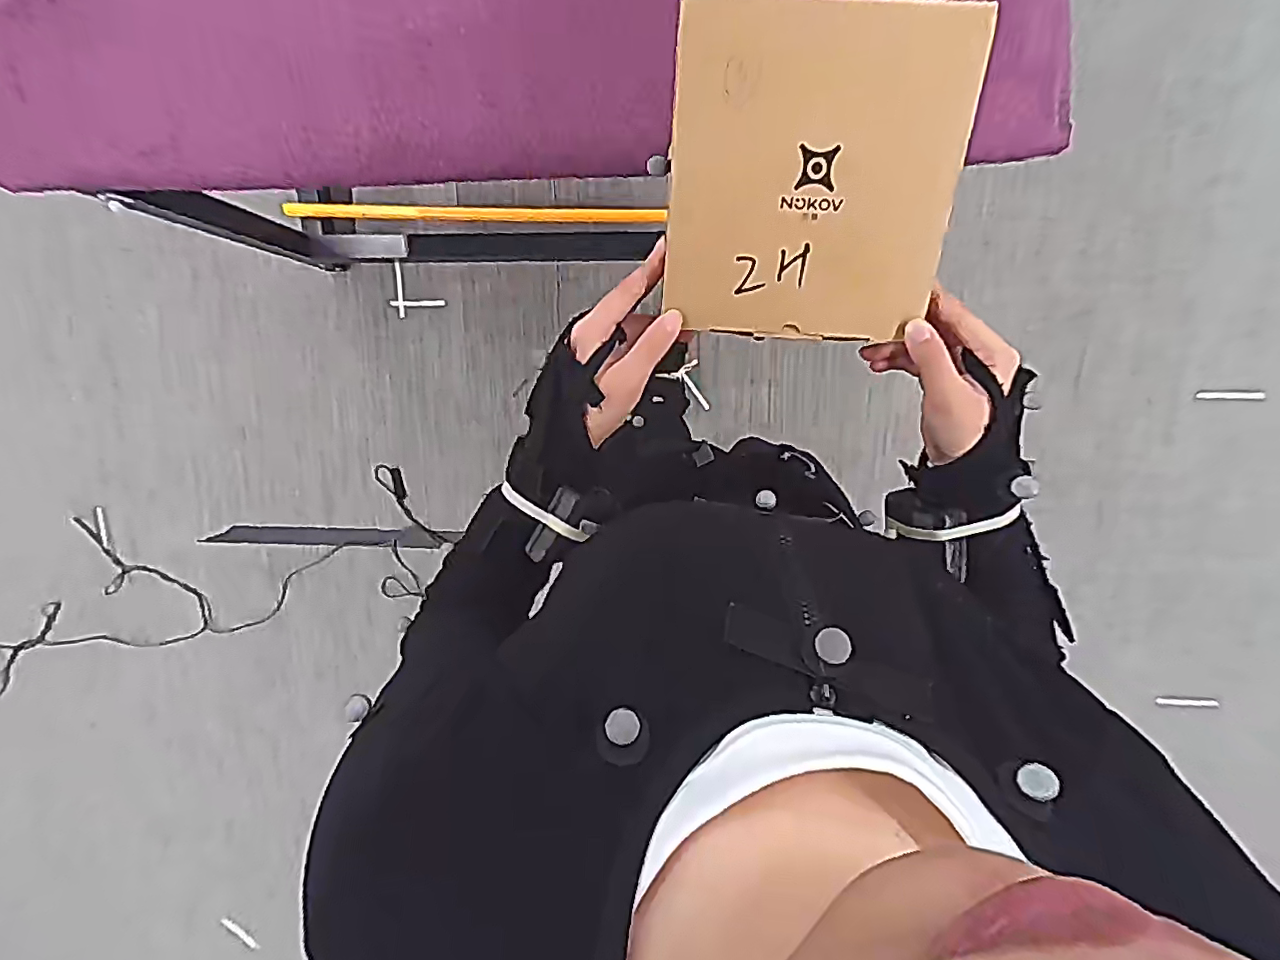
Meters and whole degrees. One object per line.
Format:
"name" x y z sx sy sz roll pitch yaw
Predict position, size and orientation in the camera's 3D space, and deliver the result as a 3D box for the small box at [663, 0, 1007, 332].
"small box" 0.105 -0.207 0.379 0.168 0.176 0.179 5 112 2
